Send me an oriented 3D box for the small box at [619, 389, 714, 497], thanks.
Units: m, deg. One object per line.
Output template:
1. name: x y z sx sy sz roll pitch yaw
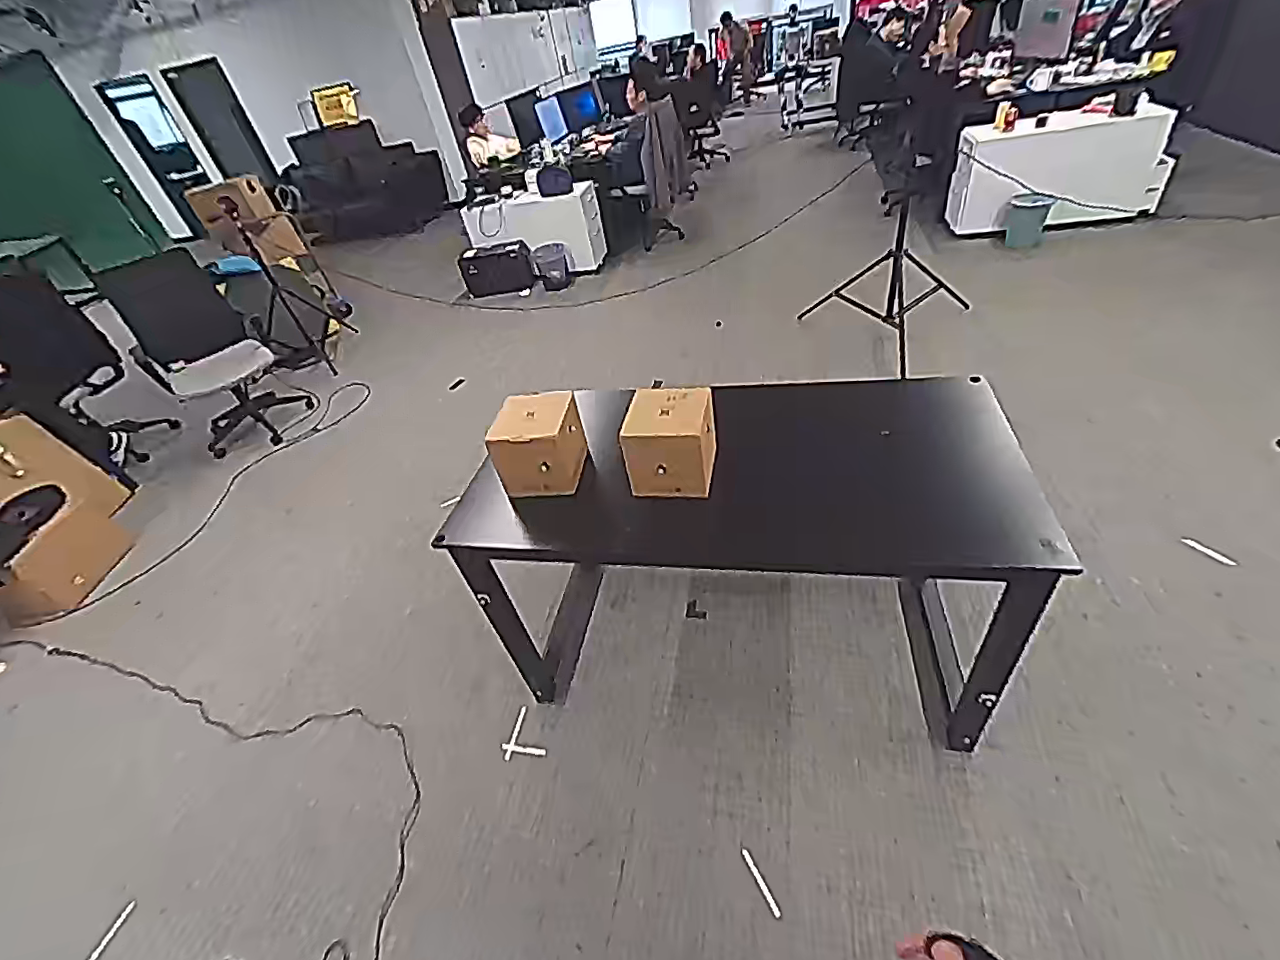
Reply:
1. small box: 0.067 -0.078 1.170 0.168 0.176 0.179 1 41 15

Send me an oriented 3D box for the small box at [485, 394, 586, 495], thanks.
1. small box: -0.230 -0.077 1.248 0.168 0.176 0.179 -2 40 10
